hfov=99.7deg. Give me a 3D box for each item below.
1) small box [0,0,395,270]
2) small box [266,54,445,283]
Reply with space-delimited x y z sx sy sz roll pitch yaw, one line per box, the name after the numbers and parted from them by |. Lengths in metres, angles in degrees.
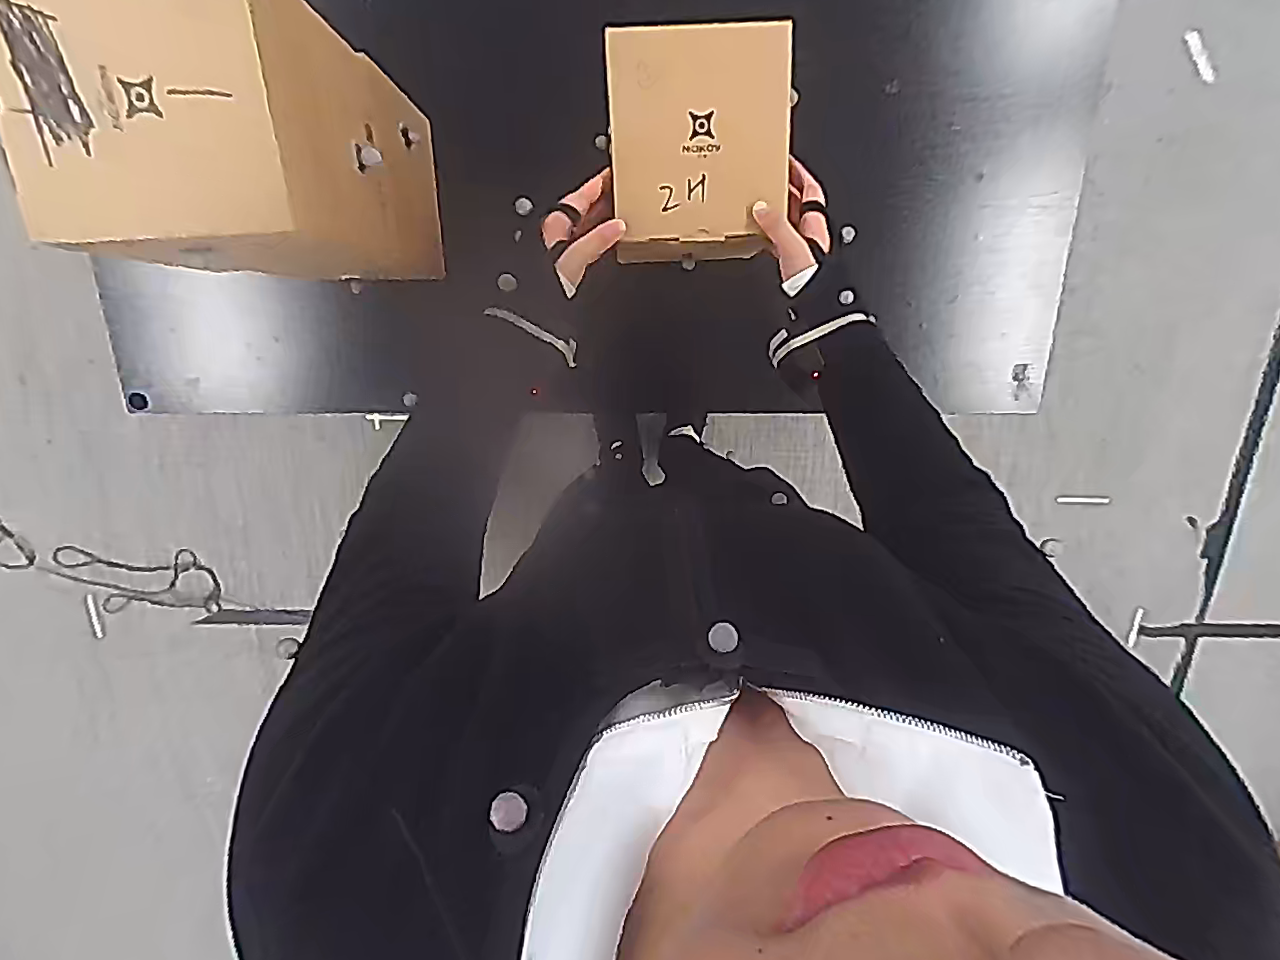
-0.320 -0.261 0.416 0.179 0.176 0.168 -4 105 -1 | small box
-0.322 -0.310 0.573 0.168 0.176 0.179 -2 106 0 | small box
